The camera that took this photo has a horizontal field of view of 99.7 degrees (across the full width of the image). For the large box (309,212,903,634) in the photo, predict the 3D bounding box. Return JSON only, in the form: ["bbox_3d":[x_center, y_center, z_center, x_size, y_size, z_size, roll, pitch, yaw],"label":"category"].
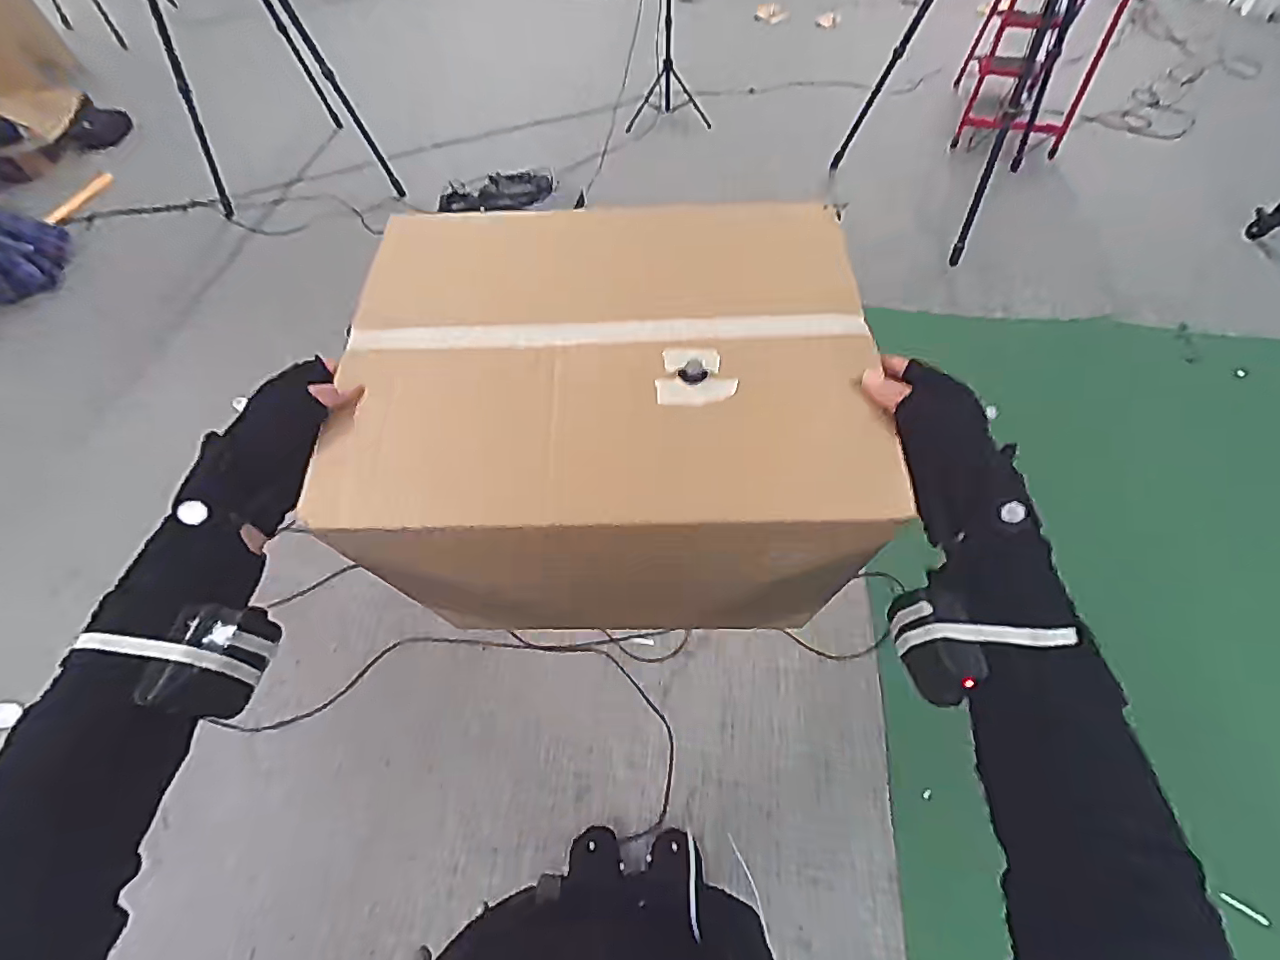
[{"bbox_3d":[-0.024,-0.035,0.557,0.408,0.320,0.320,-1,62,1],"label":"large box"}]
